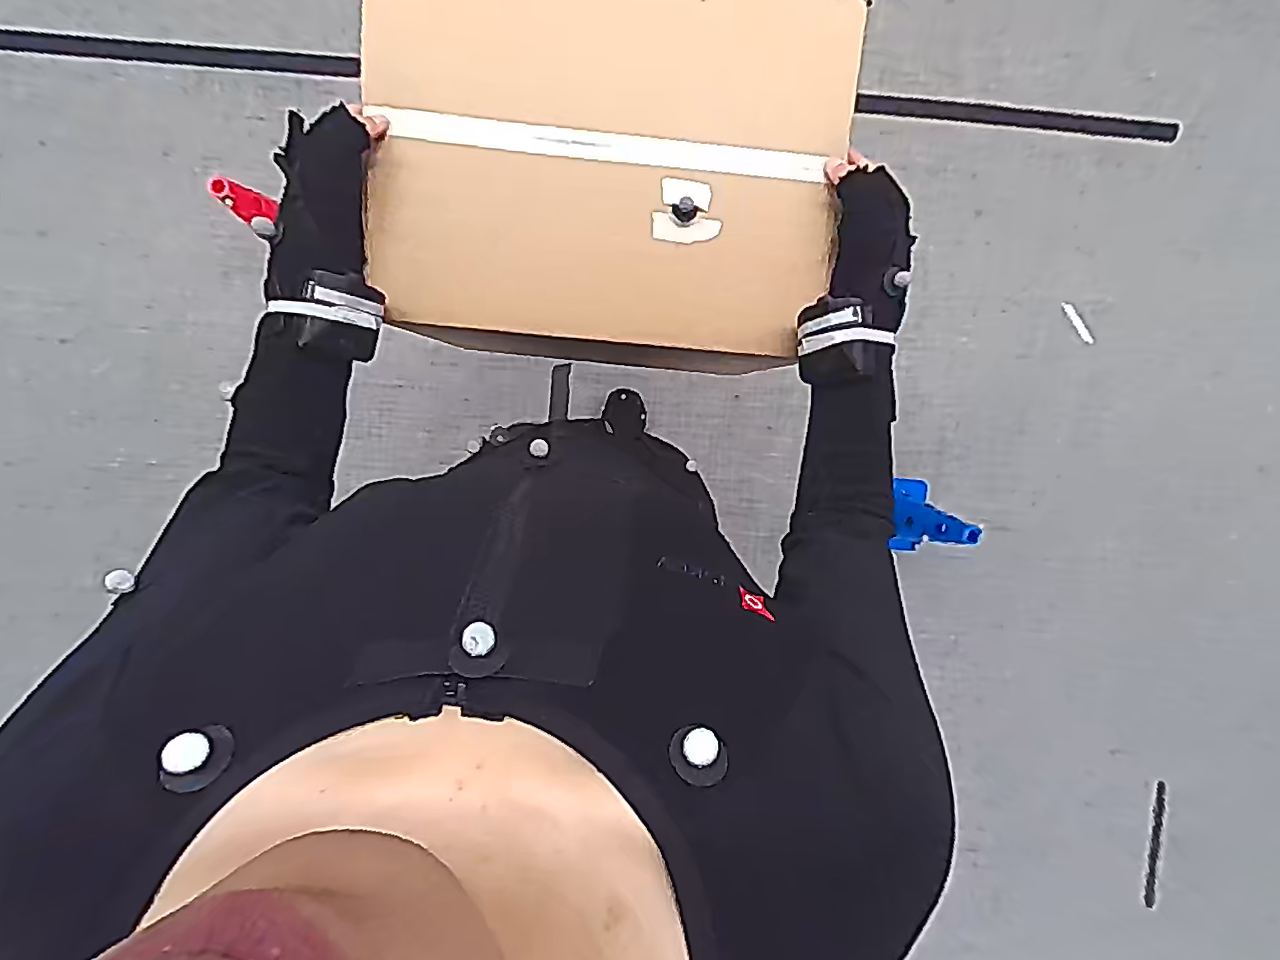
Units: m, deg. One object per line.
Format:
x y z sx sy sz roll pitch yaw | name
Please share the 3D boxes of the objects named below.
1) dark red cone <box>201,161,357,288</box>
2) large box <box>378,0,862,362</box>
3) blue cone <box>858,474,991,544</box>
-0.811 -0.585 1.197 0.201 0.394 0.202 10 94 -4 | dark red cone
-0.029 -0.311 0.606 0.408 0.320 0.320 4 99 -4 | large box
0.711 0.092 1.334 0.192 0.380 0.193 7 94 -3 | blue cone
